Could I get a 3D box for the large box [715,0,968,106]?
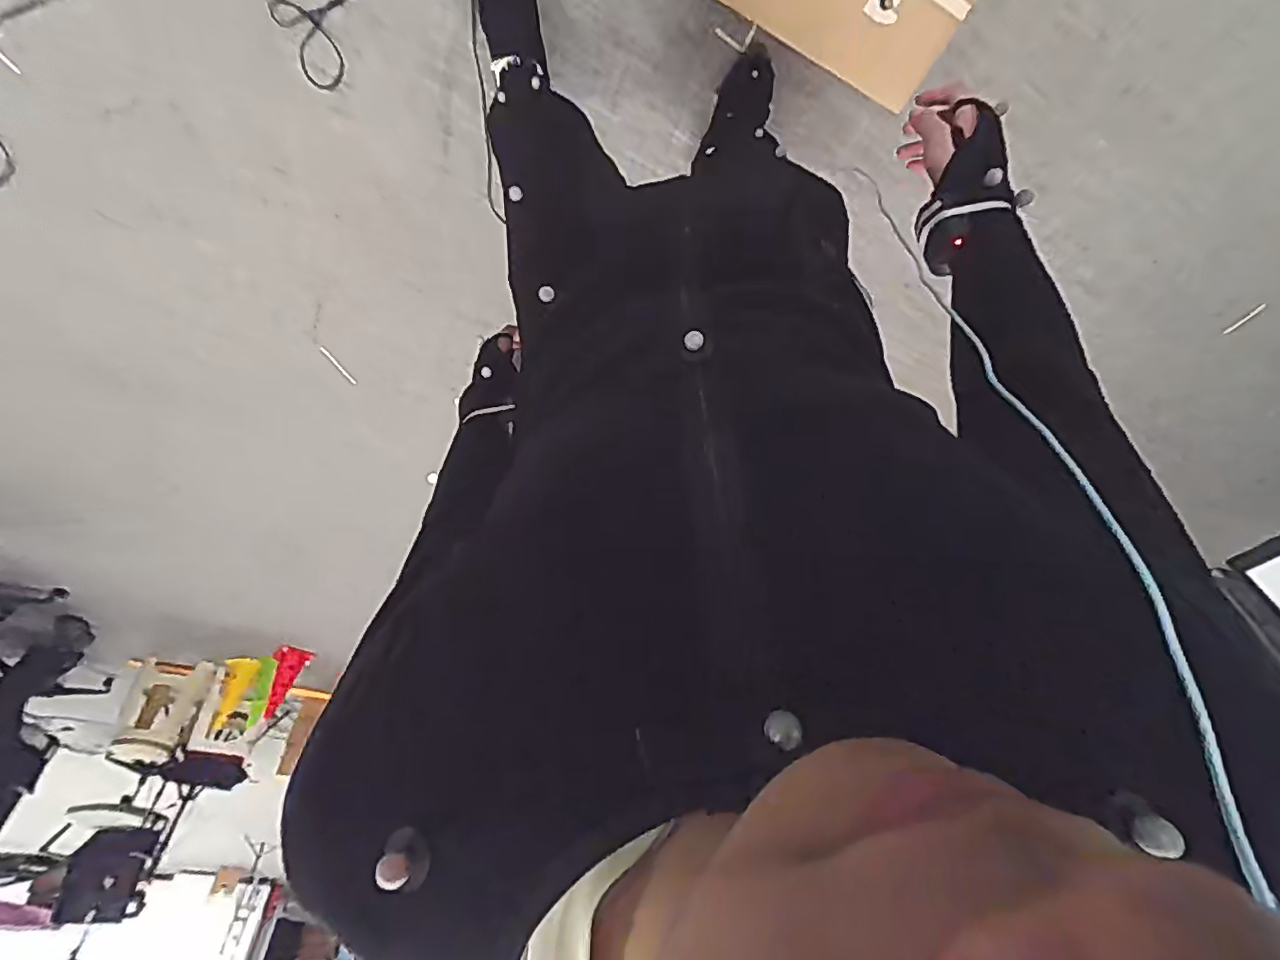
[{"bbox_3d":[0.343,-0.934,0.932,0.408,0.320,0.320,17,133,-18],"label":"large box"}]
